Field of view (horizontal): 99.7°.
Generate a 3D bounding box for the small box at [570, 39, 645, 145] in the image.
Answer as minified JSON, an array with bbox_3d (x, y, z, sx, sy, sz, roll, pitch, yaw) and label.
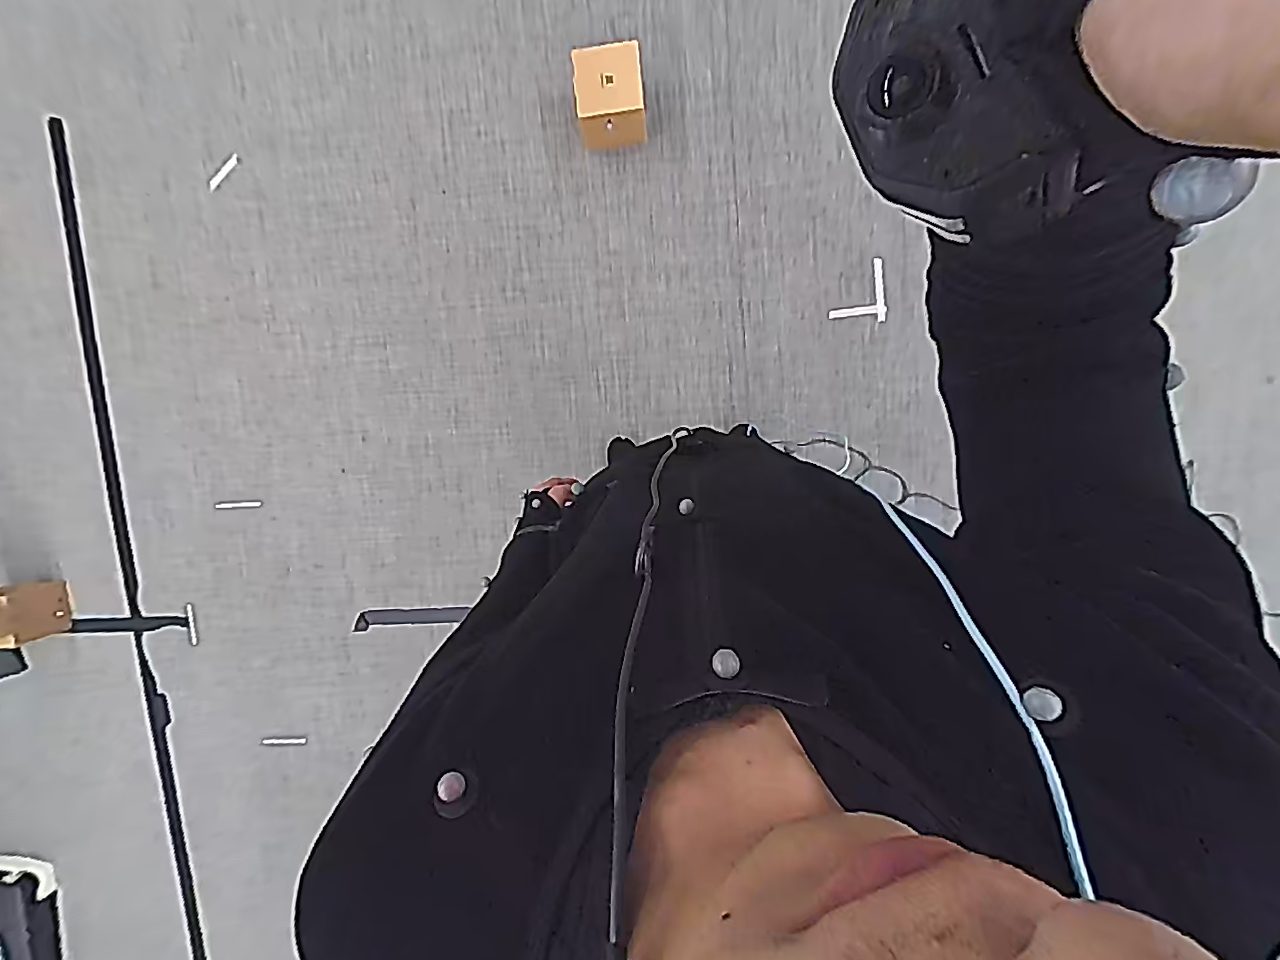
[{"bbox_3d":[-0.080,-1.036,1.457,0.179,0.176,0.168,-5,96,6],"label":"small box"}]
